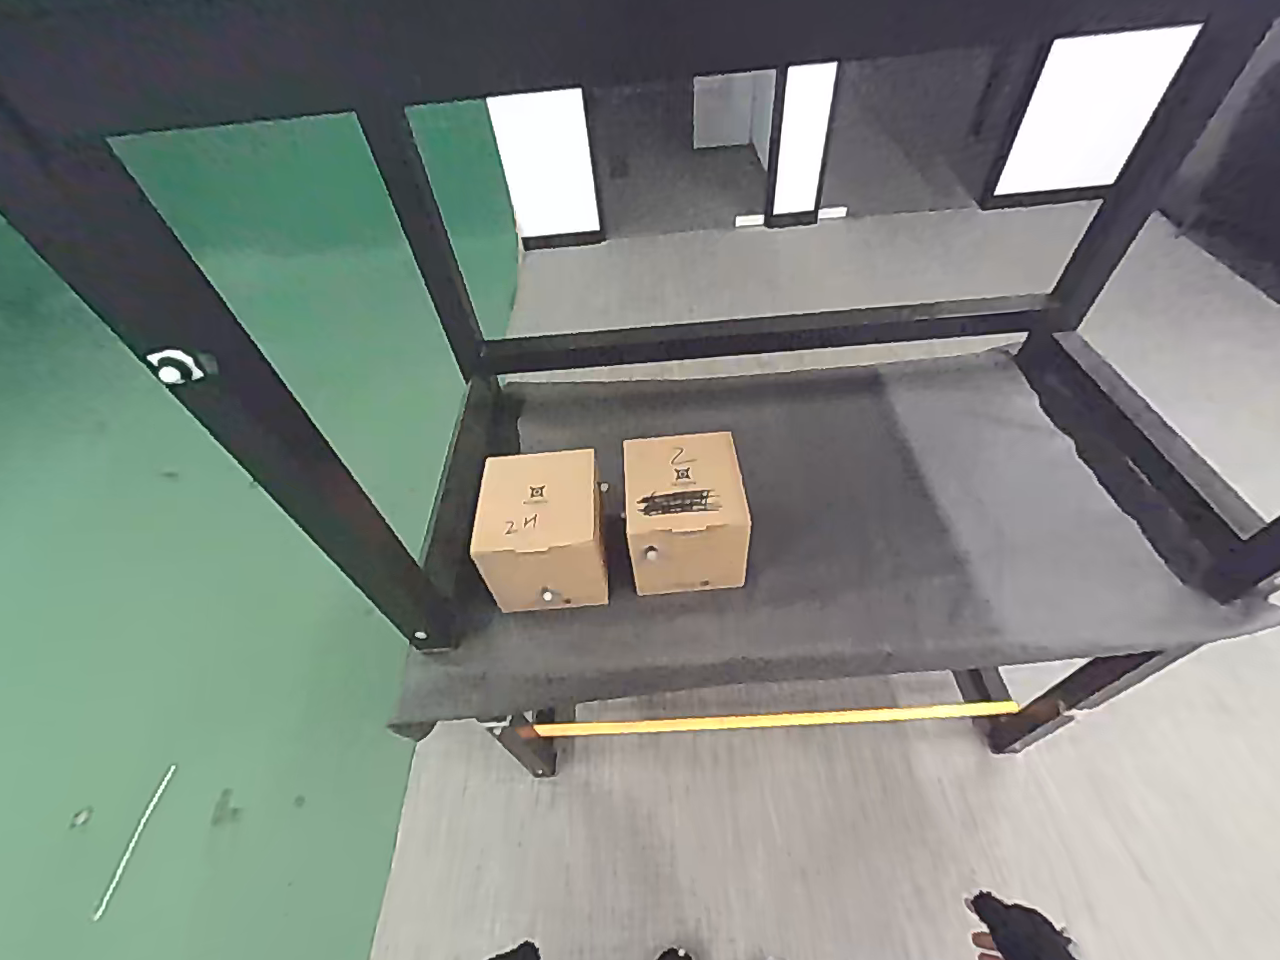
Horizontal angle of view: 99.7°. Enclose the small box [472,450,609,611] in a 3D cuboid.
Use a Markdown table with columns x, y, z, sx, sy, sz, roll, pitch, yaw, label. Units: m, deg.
| x | y | z | sx | sy | sz | roll | pitch | yaw | label |
| --- | --- | --- | --- | --- | --- | --- | --- | --- | --- |
| -0.138 | 0.078 | 0.821 | 0.168 | 0.176 | 0.179 | -5 | 49 | 1 | small box |
